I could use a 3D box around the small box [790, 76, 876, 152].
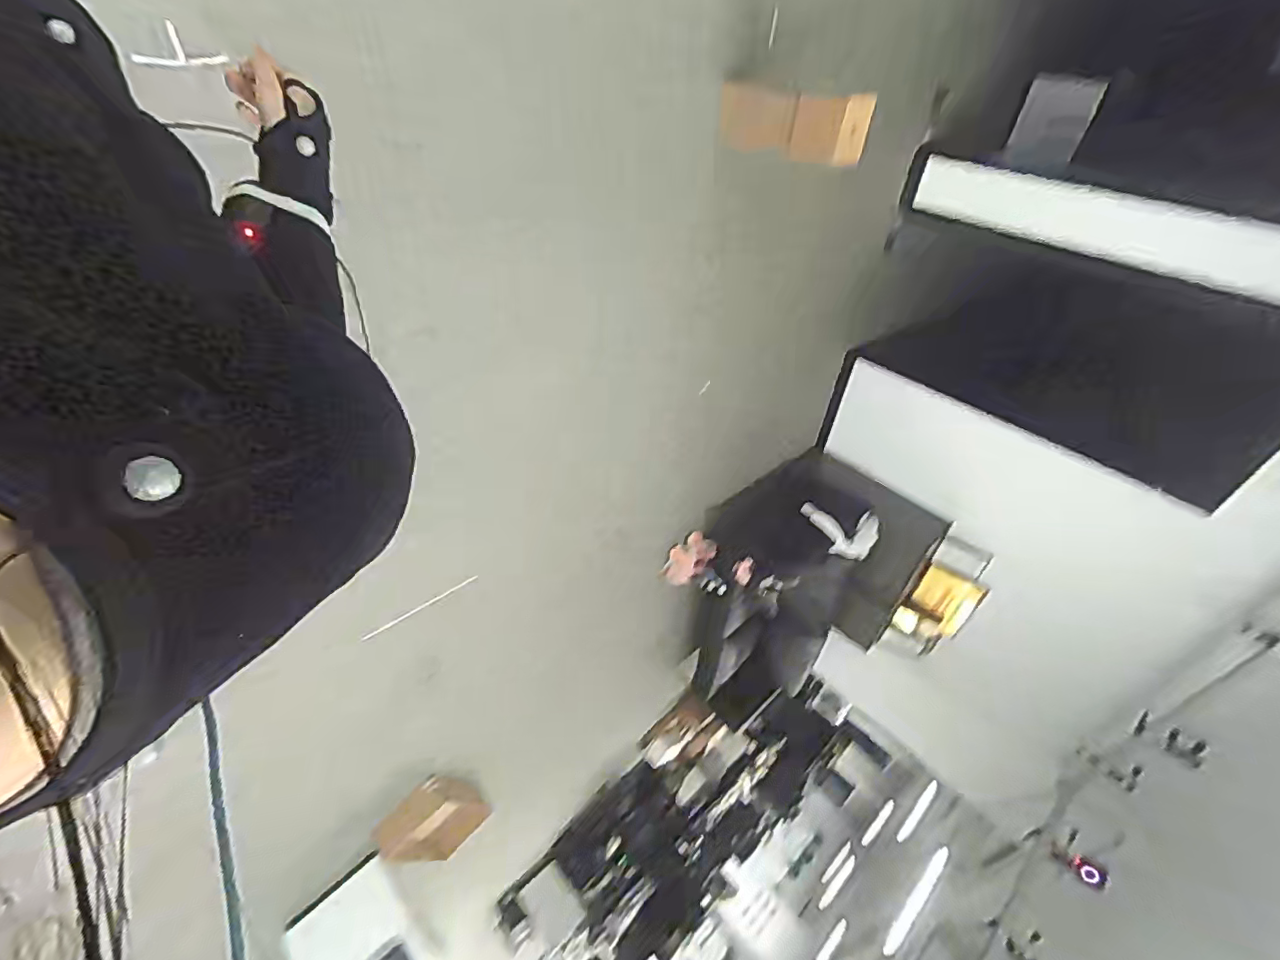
[{"bbox_3d":[0.590,-1.140,1.677,0.168,0.176,0.179,-29,141,-31],"label":"small box"}]
